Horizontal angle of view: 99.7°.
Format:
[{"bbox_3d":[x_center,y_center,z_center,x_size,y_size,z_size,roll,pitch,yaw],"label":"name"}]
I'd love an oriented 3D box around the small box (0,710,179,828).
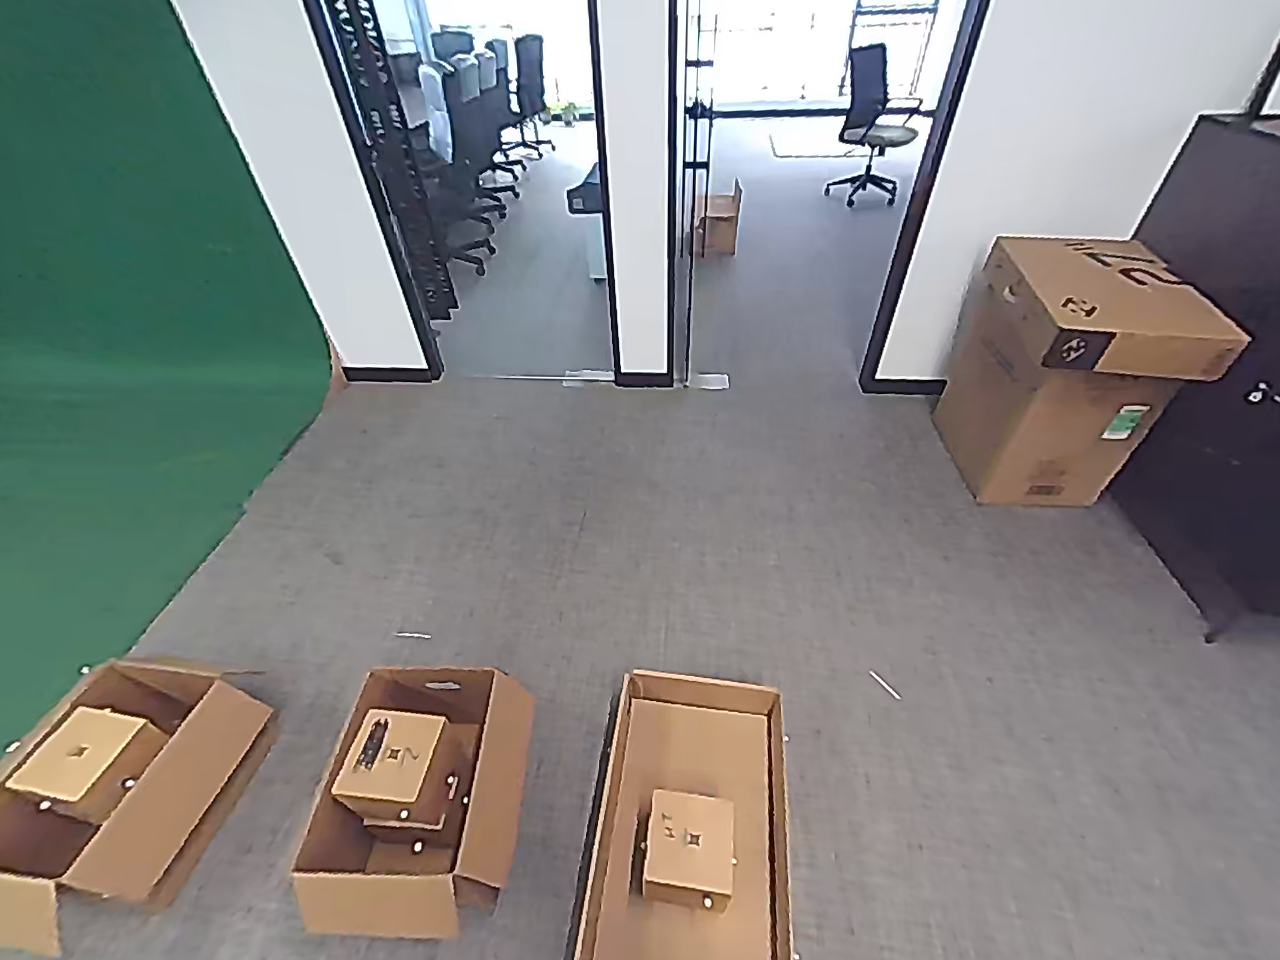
[{"bbox_3d":[-1.167,0.626,1.166,0.179,0.176,0.168,6,42,7],"label":"small box"}]
